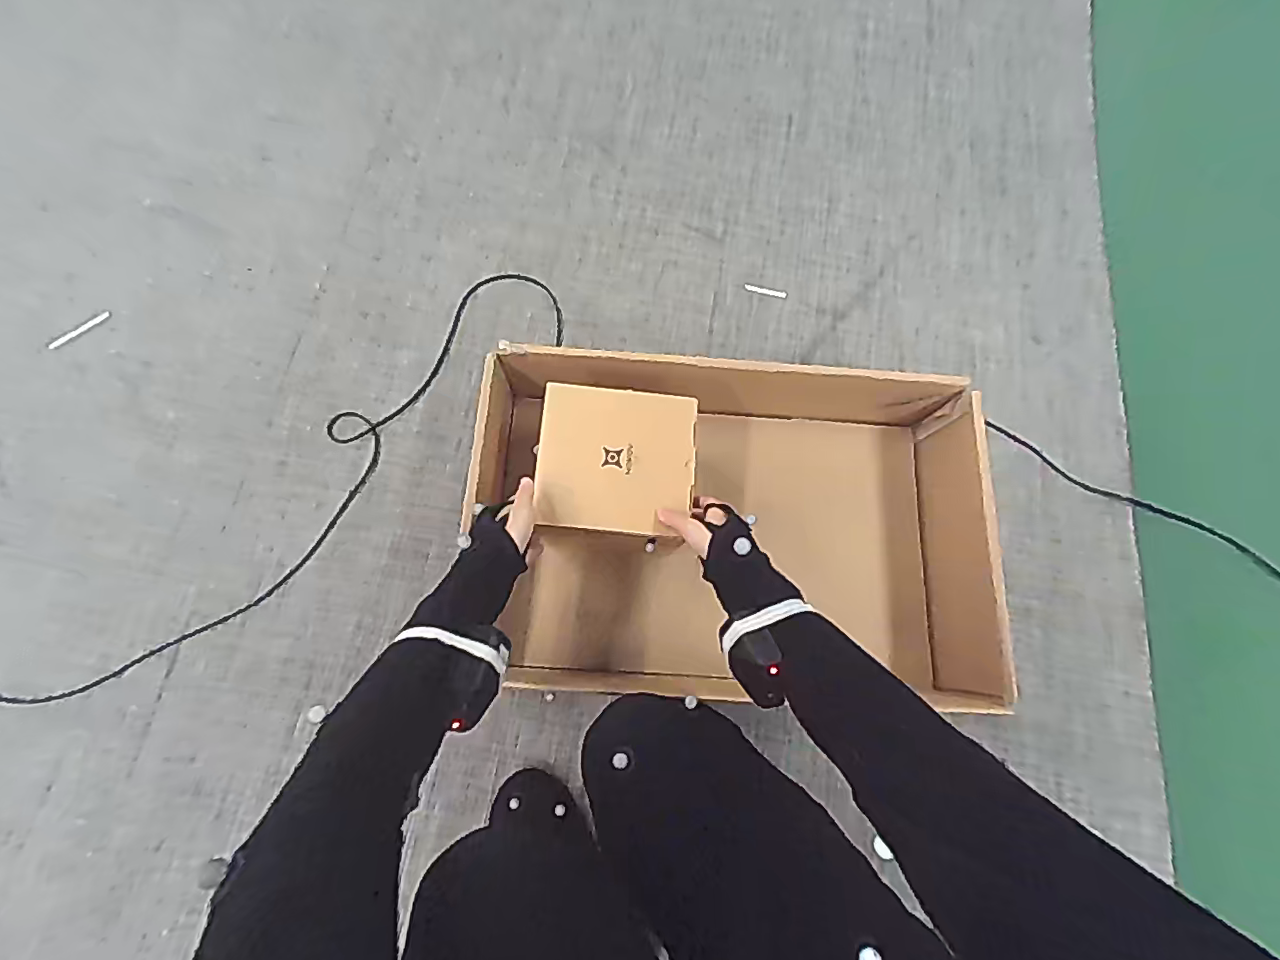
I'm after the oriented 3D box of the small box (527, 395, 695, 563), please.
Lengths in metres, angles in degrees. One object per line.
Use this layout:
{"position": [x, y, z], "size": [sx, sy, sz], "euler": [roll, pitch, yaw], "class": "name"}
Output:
{"position": [-0.034, 0.009, 0.677], "size": [0.179, 0.176, 0.168], "euler": [5, 75, -3], "class": "small box"}
